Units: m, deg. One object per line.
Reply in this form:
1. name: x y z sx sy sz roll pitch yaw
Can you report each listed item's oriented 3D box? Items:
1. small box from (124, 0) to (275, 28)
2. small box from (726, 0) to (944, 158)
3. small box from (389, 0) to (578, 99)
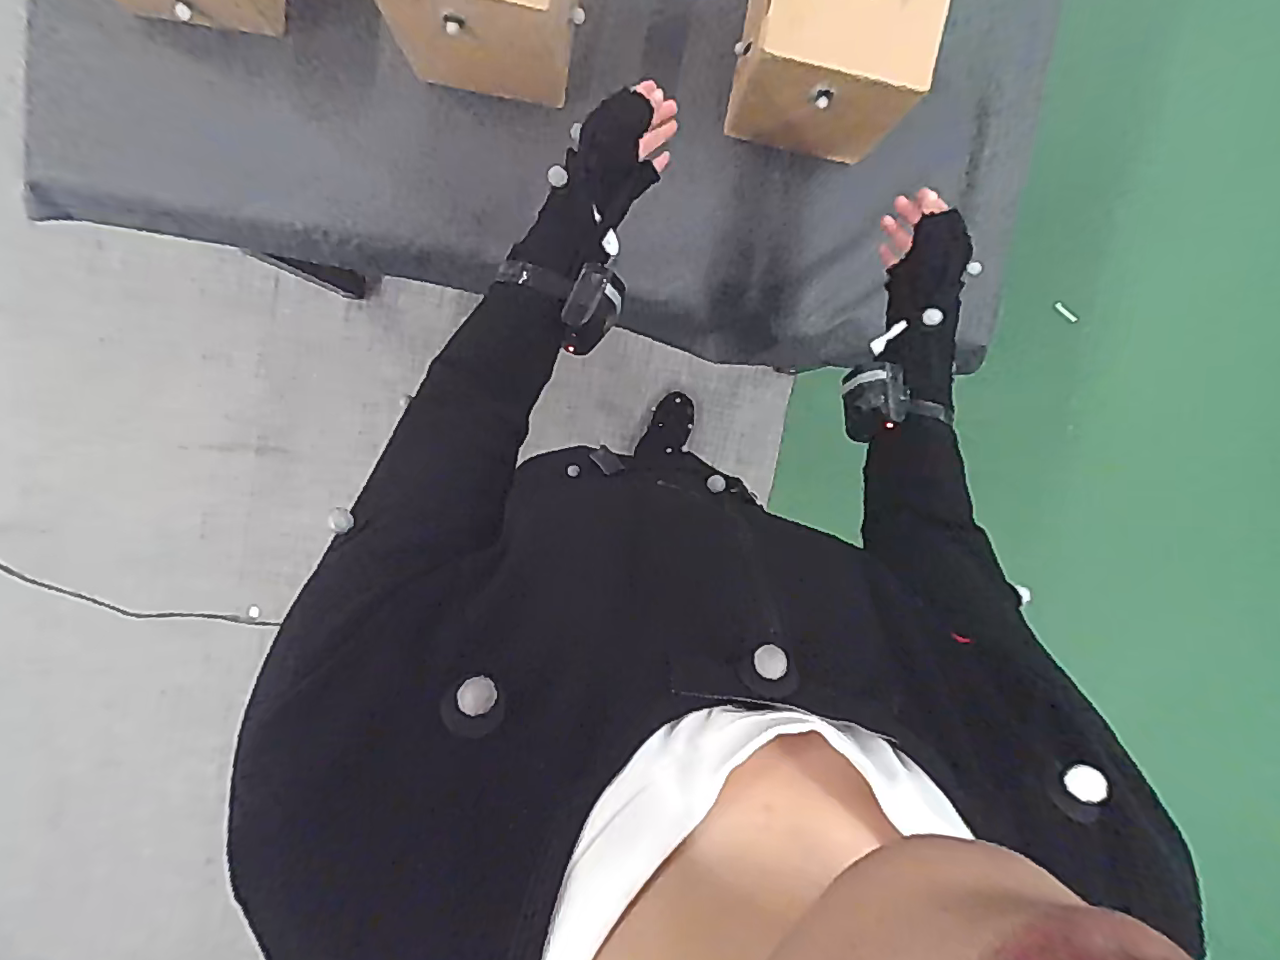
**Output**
1. small box: -0.491 -0.604 0.540 0.179 0.176 0.168 6 97 -5
2. small box: 0.206 -0.491 0.599 0.179 0.176 0.168 10 97 -6
3. small box: -0.163 -0.542 0.568 0.179 0.176 0.168 8 97 -5
